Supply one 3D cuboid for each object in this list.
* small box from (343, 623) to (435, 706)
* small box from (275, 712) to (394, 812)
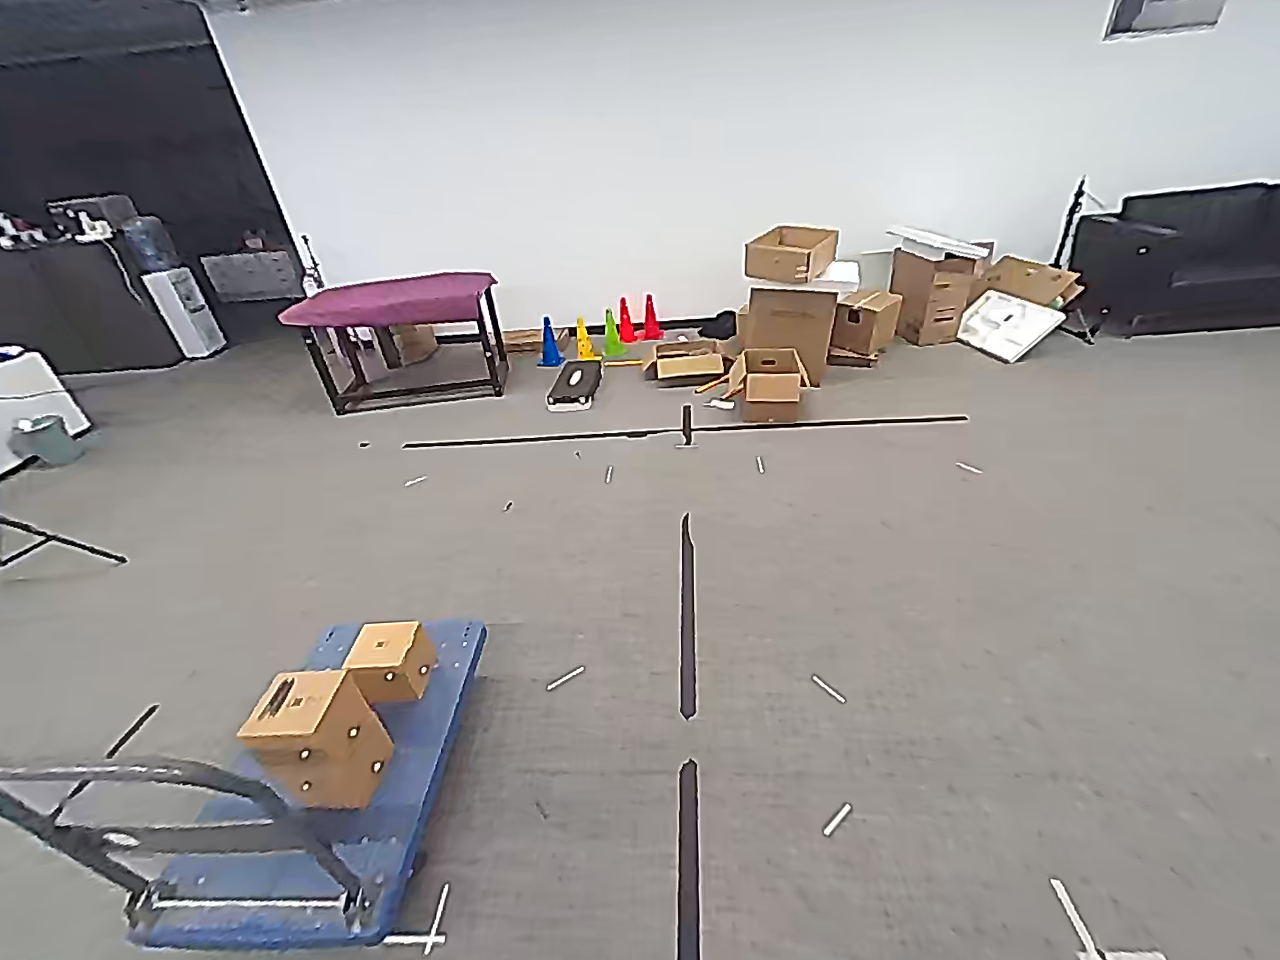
[{"bbox_3d":[-0.739,0.553,1.613,0.179,0.176,0.168,-4,33,1],"label":"small box"},{"bbox_3d":[-0.761,0.712,1.366,0.179,0.176,0.168,-1,34,7],"label":"small box"}]
